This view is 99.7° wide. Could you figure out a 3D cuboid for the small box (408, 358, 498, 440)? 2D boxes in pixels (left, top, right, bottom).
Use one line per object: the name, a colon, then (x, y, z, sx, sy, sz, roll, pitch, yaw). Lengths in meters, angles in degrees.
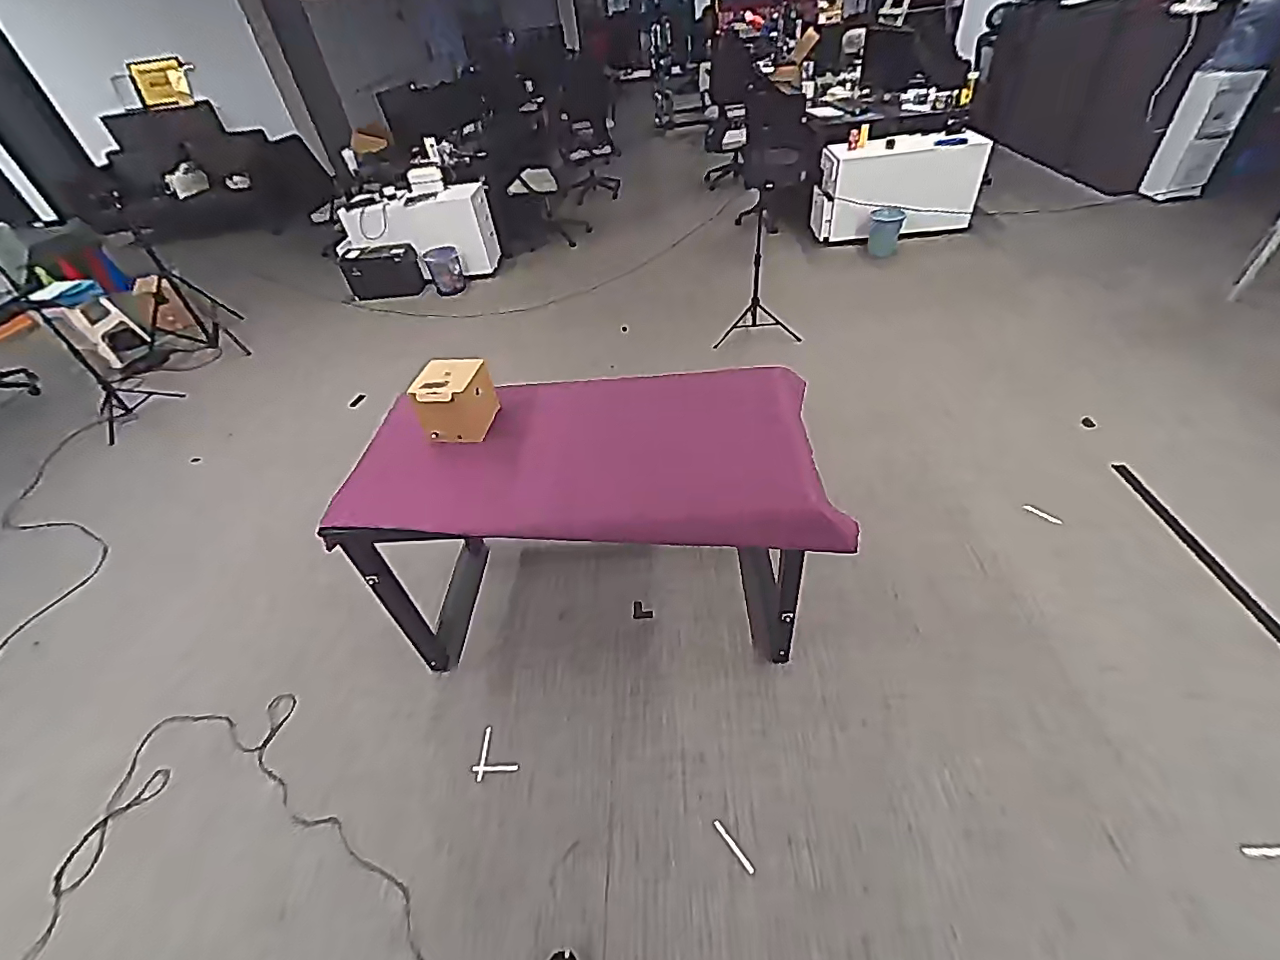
small box: (-0.520, -0.228, 1.538, 0.168, 0.176, 0.179, 1, 44, 9)
